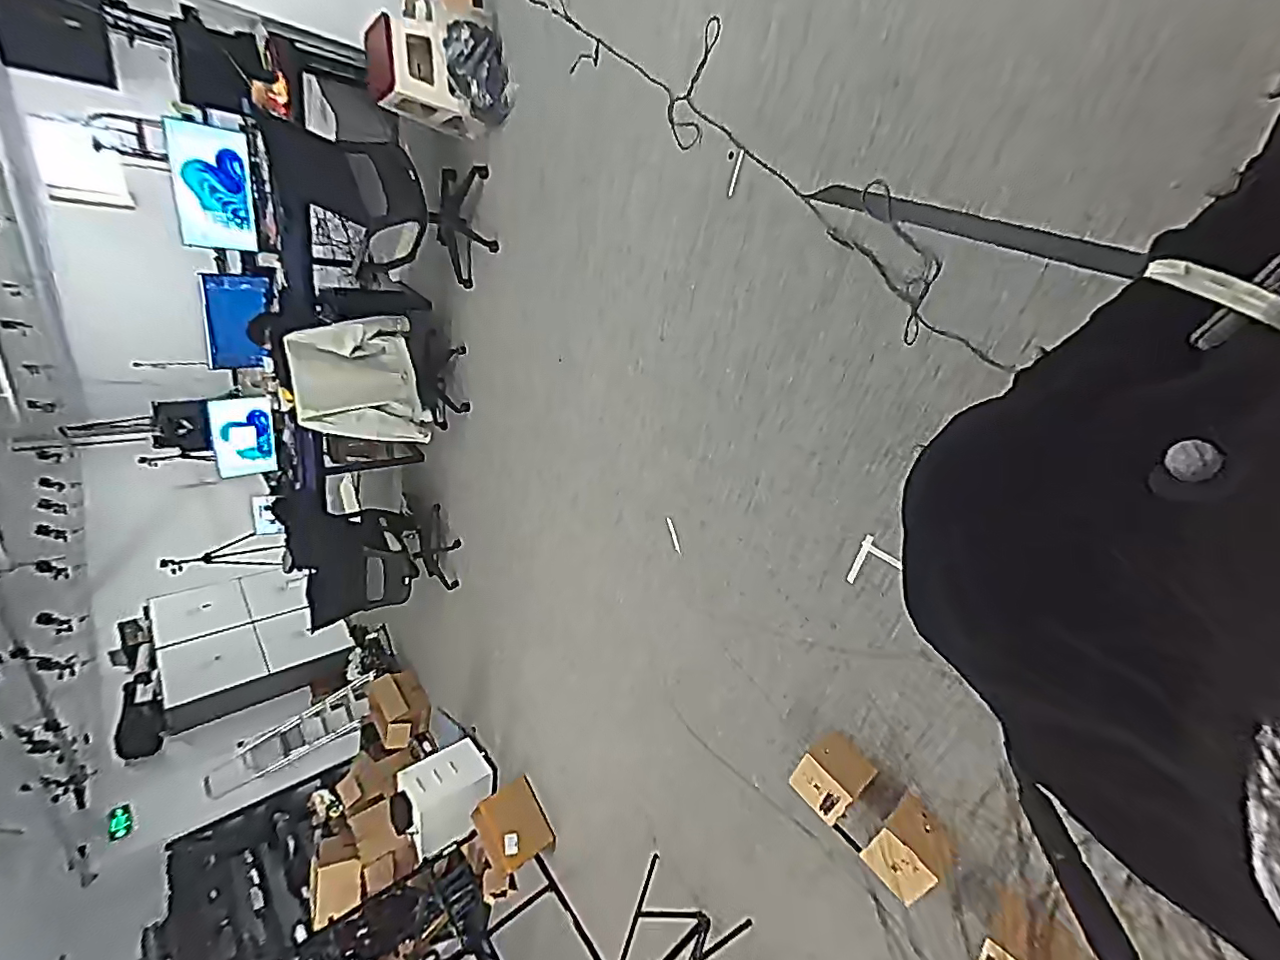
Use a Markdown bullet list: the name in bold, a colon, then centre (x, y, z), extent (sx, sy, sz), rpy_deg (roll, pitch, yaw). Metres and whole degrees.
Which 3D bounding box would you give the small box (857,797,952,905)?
- **small box**: centre (0.787, 1.091, 1.601), extent (0.168, 0.176, 0.179), rpy_deg (40, 127, 34)

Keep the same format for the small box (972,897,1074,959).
- **small box**: centre (0.998, 1.260, 1.413), extent (0.179, 0.176, 0.168), rpy_deg (24, 117, 41)
